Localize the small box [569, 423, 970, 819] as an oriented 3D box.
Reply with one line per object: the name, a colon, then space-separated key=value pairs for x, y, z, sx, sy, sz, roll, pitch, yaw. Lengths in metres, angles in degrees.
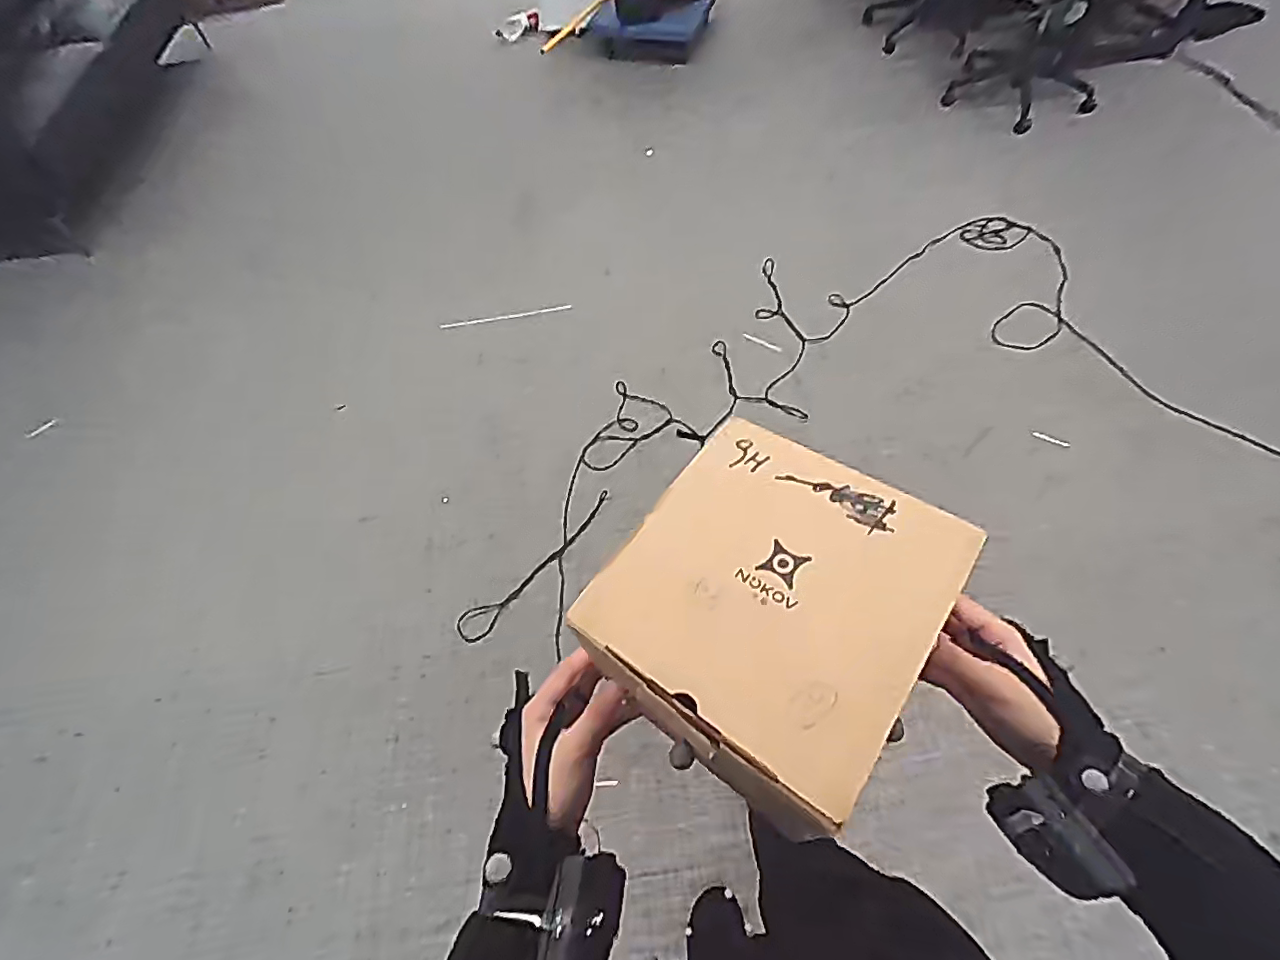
small box: x=0.084 y=0.100 z=0.372 sx=0.168 sy=0.176 sz=0.179 roll=30 pitch=65 yaw=26
